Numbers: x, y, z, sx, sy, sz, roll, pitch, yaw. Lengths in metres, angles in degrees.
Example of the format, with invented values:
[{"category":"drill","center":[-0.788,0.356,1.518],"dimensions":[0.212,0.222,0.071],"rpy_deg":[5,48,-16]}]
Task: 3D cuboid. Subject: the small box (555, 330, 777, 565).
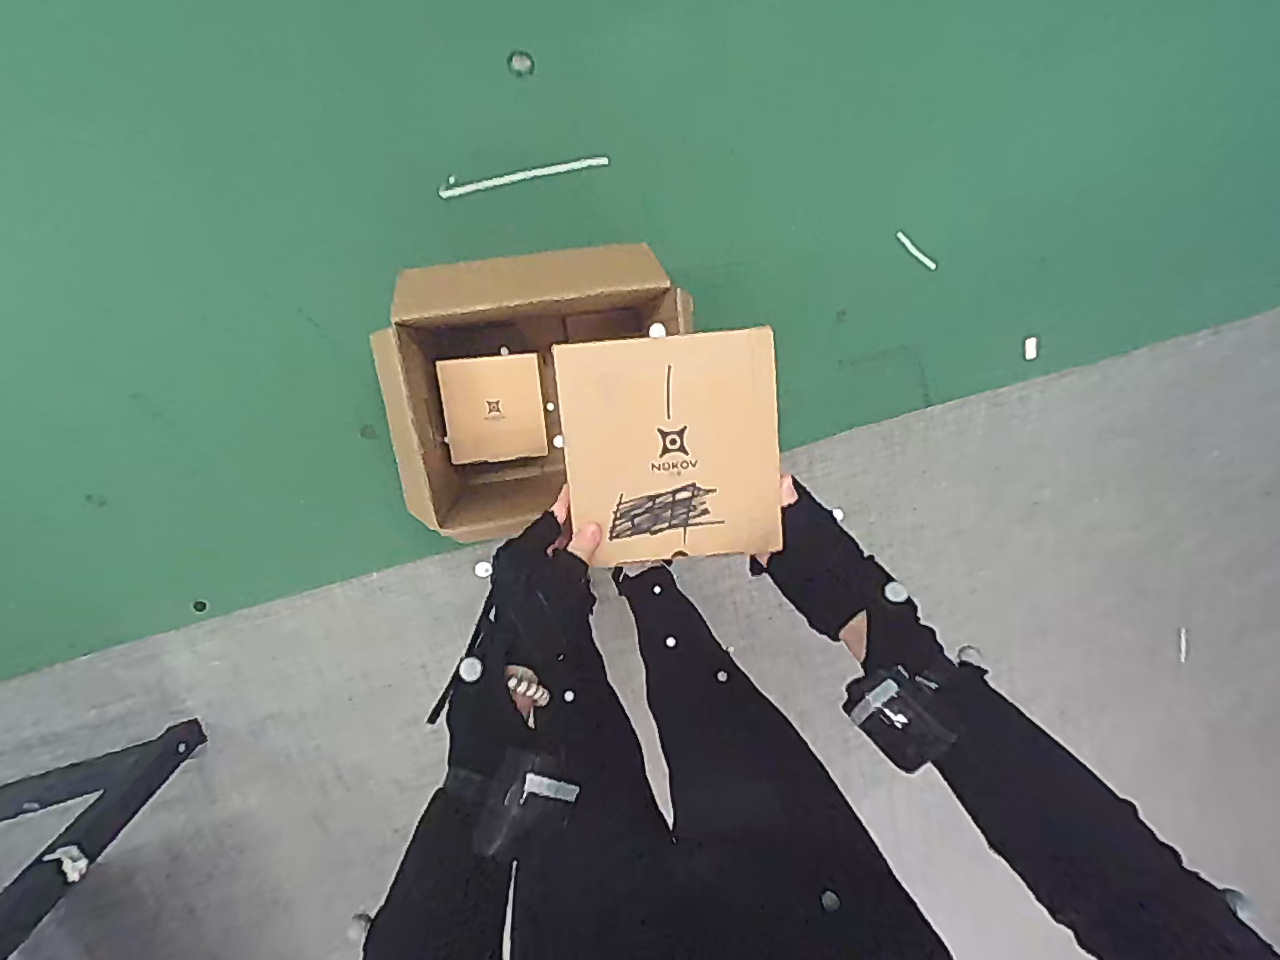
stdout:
[{"category":"small box","center":[0.021,-0.038,0.496],"dimensions":[0.168,0.176,0.179],"rpy_deg":[-6,101,-2]}]
